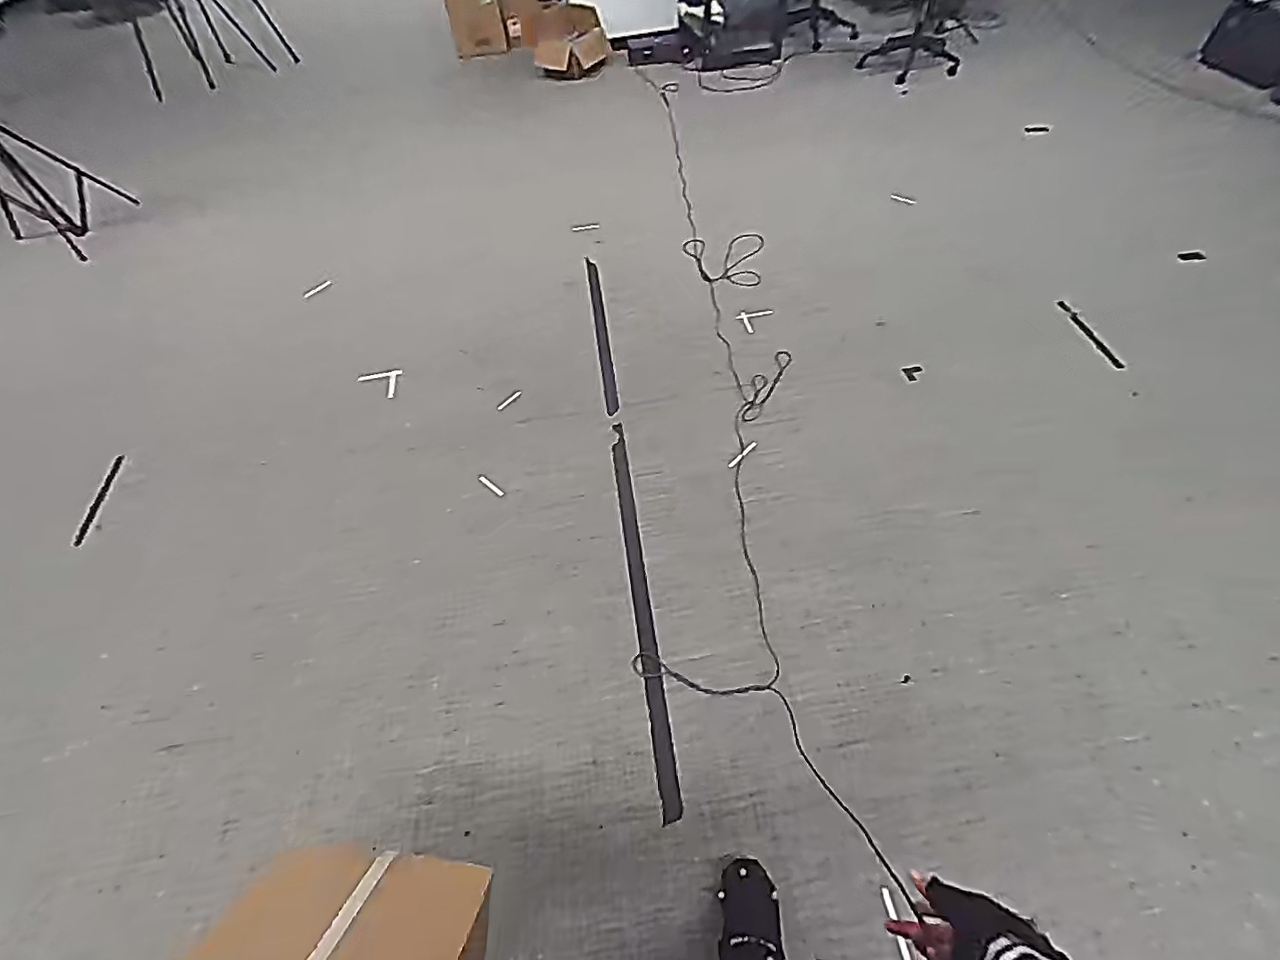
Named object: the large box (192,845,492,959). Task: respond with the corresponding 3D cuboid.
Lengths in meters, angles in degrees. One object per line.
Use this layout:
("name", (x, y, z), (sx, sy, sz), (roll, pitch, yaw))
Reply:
("large box", (-0.392, 0.728, 0.625), (0.320, 0.408, 0.320), (5, 94, 3))
